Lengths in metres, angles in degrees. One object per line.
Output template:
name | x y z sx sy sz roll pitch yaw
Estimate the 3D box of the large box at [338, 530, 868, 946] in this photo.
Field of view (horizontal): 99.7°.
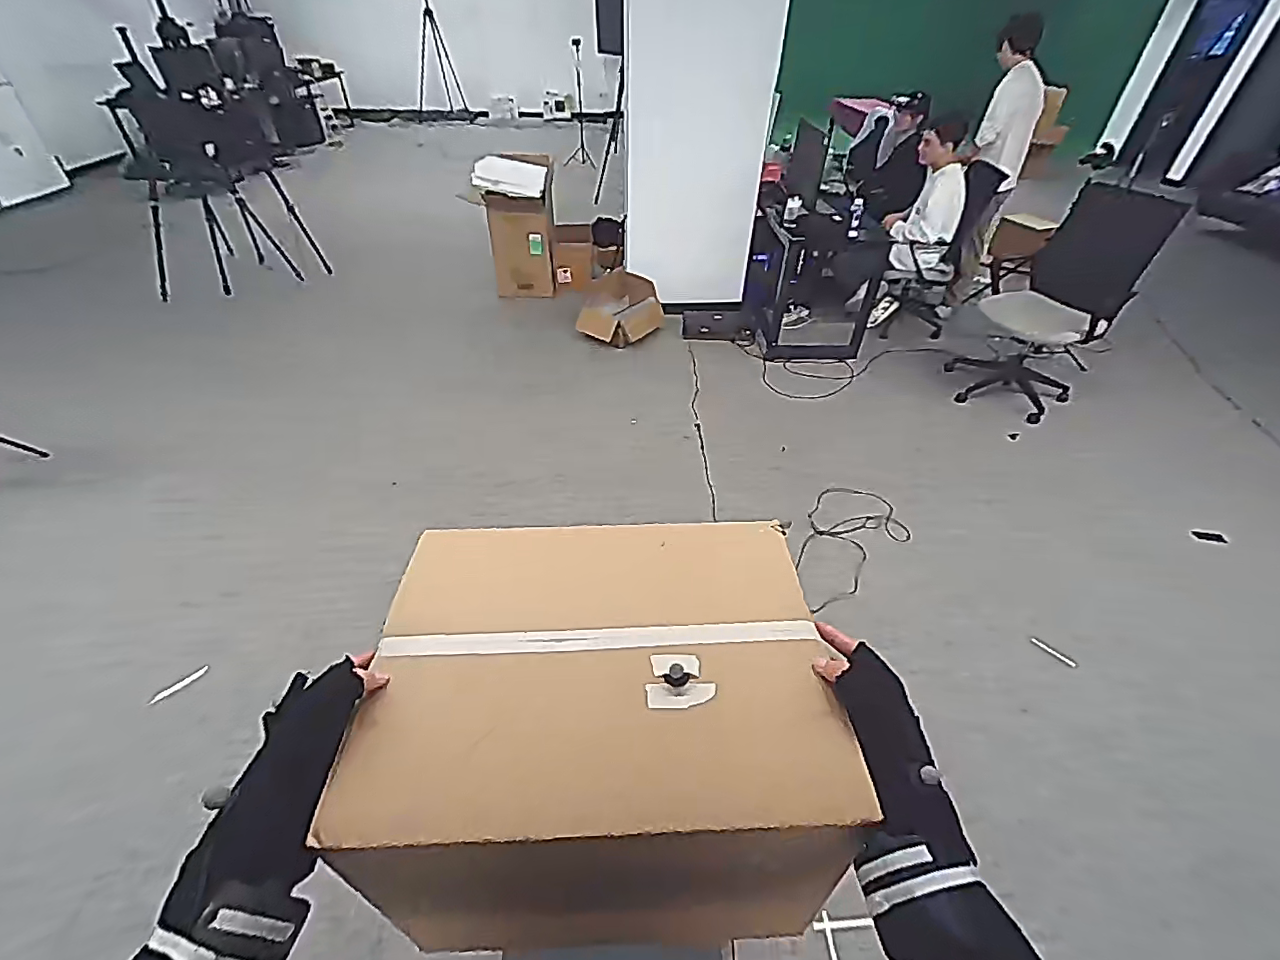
large box | -0.033 0.275 0.605 0.408 0.320 0.320 -1 39 -2
